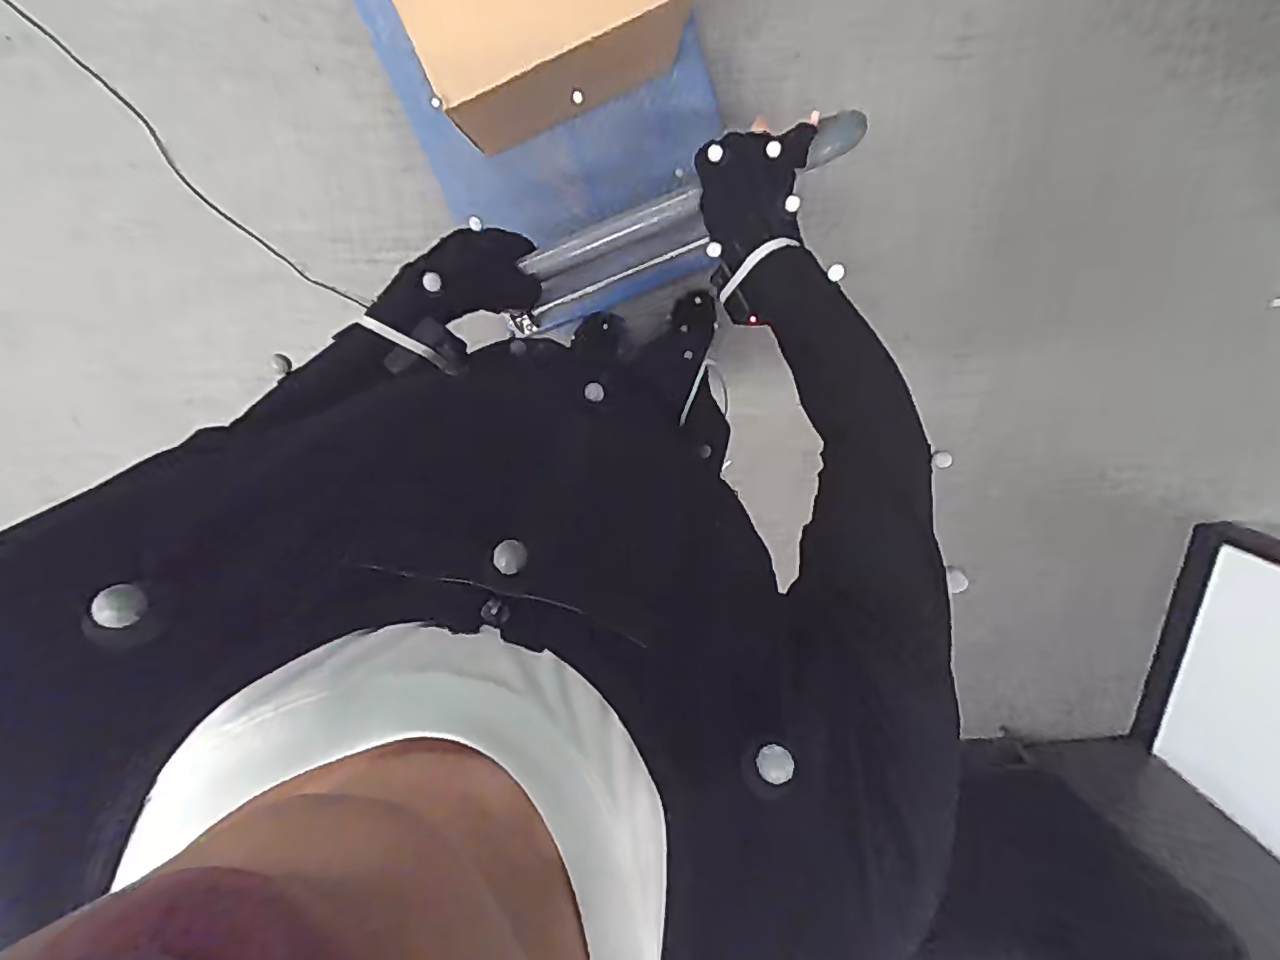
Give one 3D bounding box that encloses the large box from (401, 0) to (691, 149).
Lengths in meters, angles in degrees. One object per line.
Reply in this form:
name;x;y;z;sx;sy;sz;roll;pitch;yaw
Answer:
large box;-0.166;-0.815;0.882;0.408;0.320;0.320;-23;110;5
